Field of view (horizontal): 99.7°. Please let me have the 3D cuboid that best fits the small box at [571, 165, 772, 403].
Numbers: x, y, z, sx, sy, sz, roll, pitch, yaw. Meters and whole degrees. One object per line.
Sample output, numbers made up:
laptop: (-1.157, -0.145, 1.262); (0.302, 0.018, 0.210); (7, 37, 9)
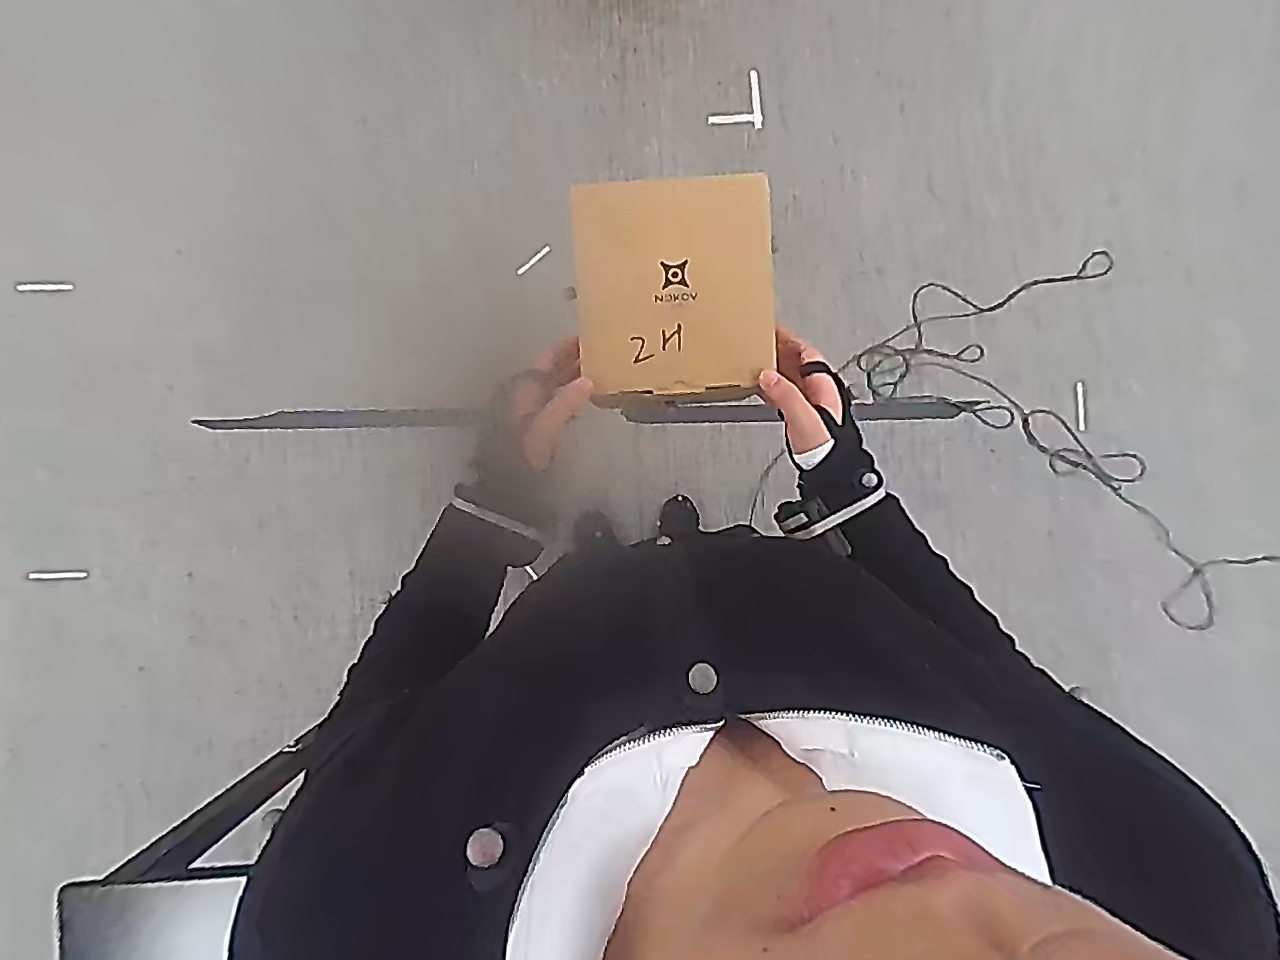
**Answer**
small box: (0.027, -0.174, 0.530); (0.168, 0.176, 0.179); (-3, 93, 1)
